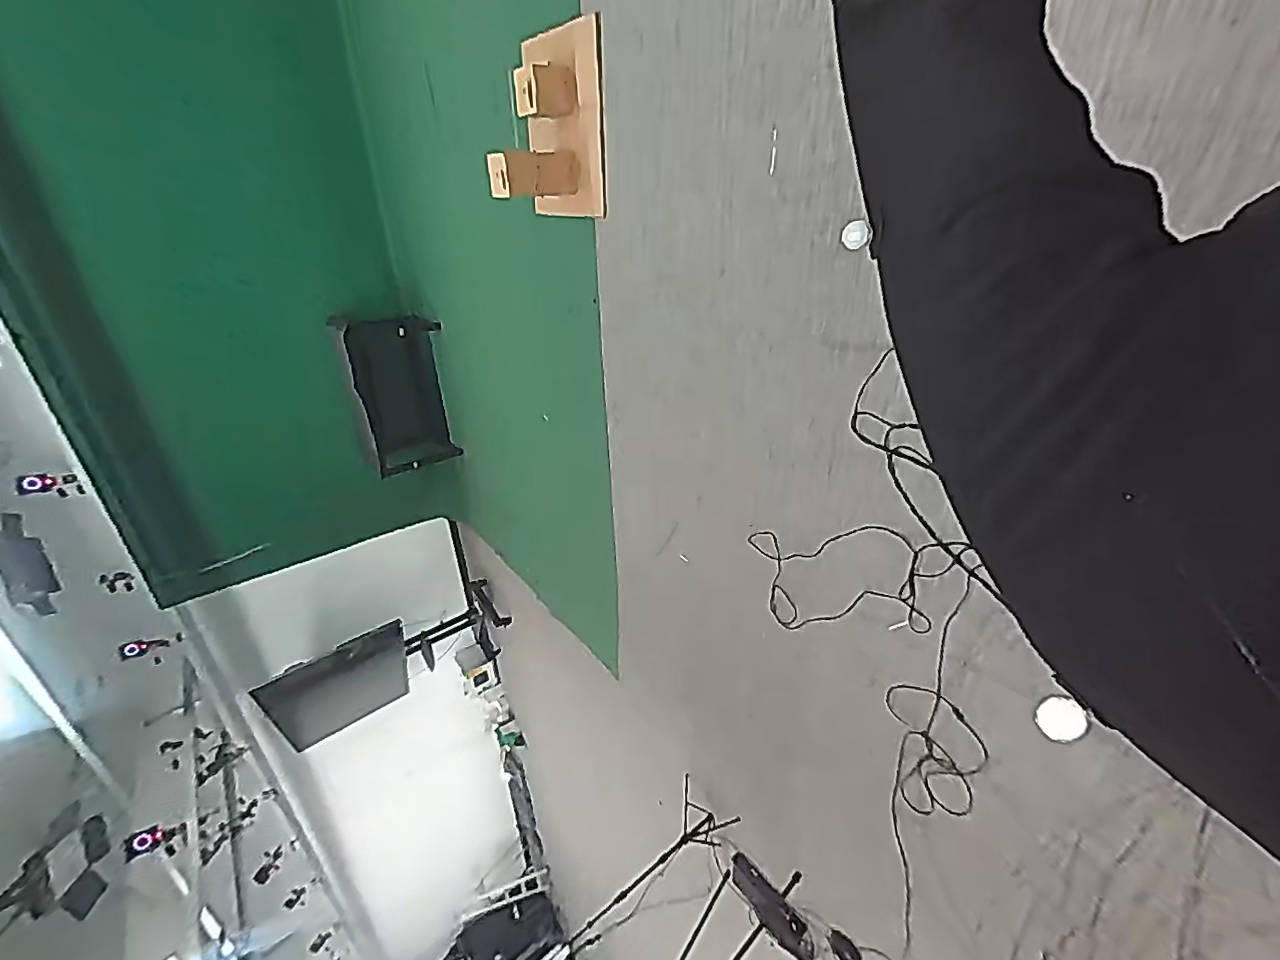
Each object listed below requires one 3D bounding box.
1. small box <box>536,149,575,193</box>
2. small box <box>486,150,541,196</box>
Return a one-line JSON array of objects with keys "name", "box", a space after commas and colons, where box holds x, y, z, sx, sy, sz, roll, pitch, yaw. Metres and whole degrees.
[{"name": "small box", "box": [-0.408, -1.379, 2.418, 0.179, 0.176, 0.168, 29, 132, 45]}, {"name": "small box", "box": [-0.538, -1.326, 2.332, 0.179, 0.176, 0.168, 32, 133, 44]}]
